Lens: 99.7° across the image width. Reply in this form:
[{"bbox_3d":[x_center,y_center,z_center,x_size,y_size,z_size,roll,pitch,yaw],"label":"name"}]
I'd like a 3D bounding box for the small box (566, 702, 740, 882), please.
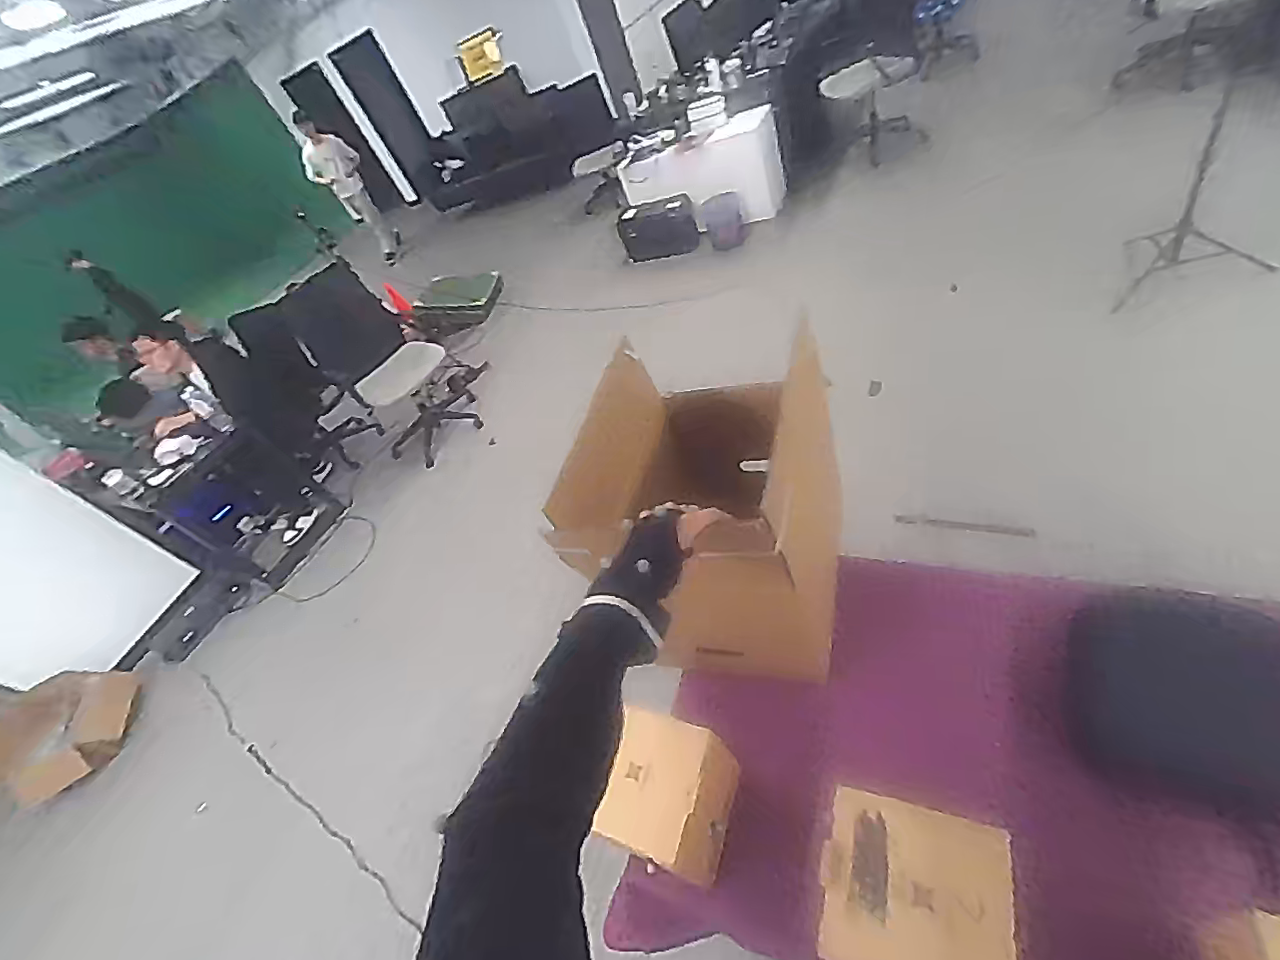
[{"bbox_3d":[0.029,0.455,0.791,0.179,0.176,0.168,3,50,29],"label":"small box"}]
